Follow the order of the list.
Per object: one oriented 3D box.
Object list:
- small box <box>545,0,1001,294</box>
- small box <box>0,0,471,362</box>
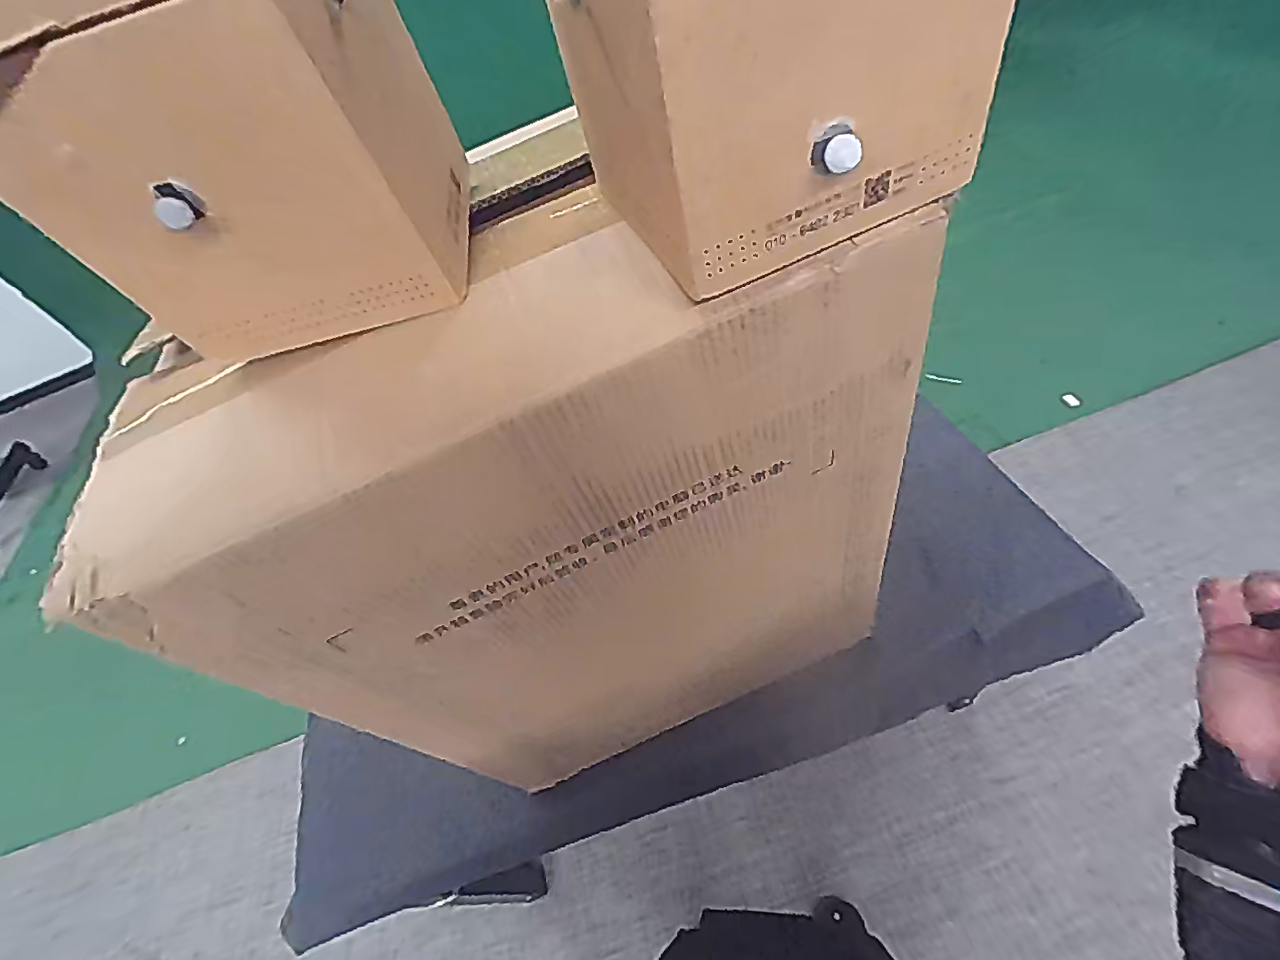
[{"bbox_3d":[0.051,-0.229,0.277,0.168,0.176,0.179,-24,51,-2],"label":"small box"},{"bbox_3d":[-0.224,-0.196,0.322,0.179,0.176,0.168,-13,59,6],"label":"small box"}]
